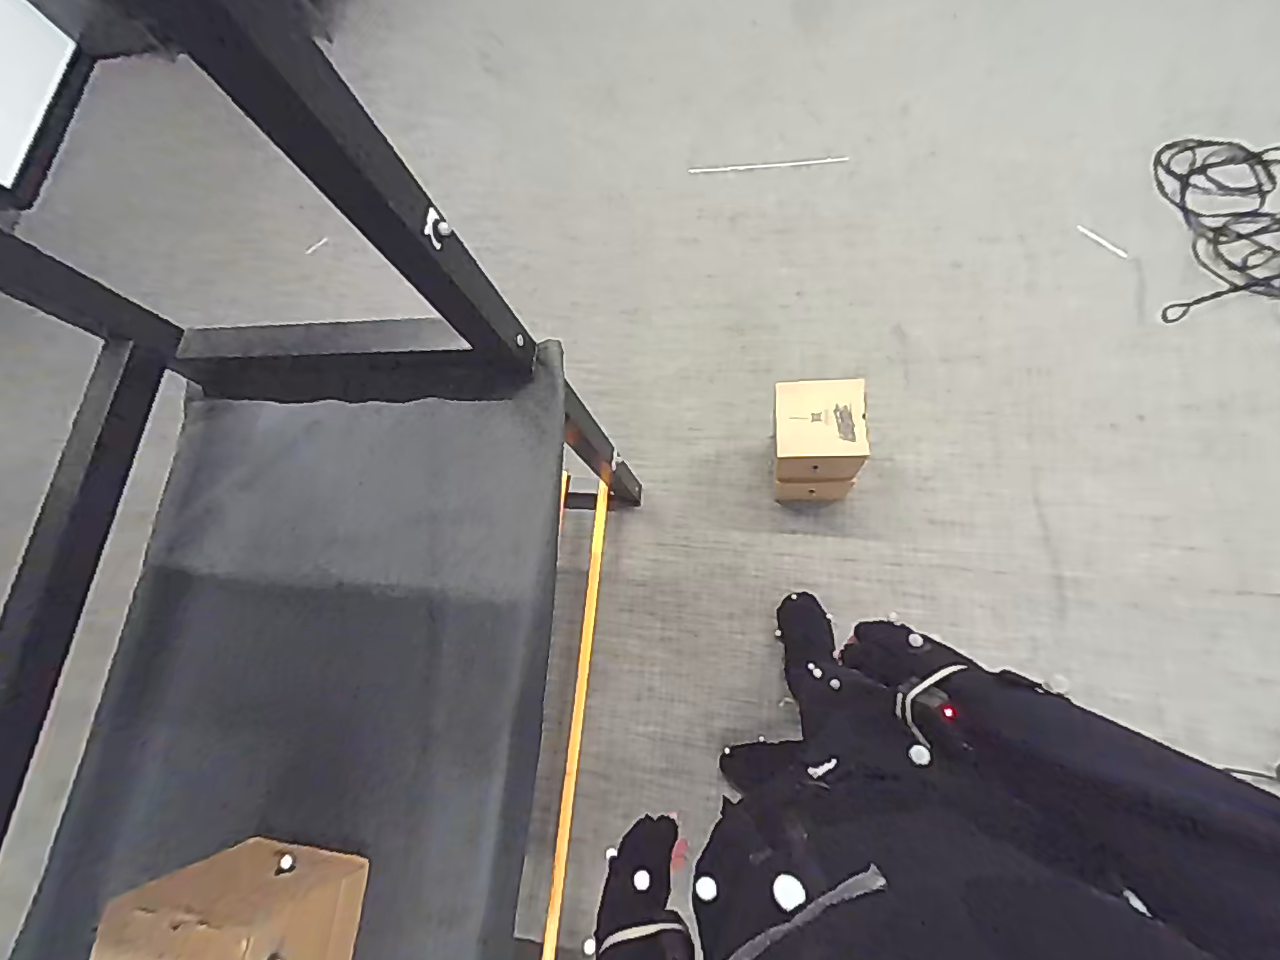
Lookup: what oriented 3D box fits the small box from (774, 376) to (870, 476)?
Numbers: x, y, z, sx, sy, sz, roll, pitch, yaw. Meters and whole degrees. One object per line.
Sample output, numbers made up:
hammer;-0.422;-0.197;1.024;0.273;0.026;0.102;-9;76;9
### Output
small box;0.378;-0.109;1.151;0.179;0.176;0.168;-1;75;13
